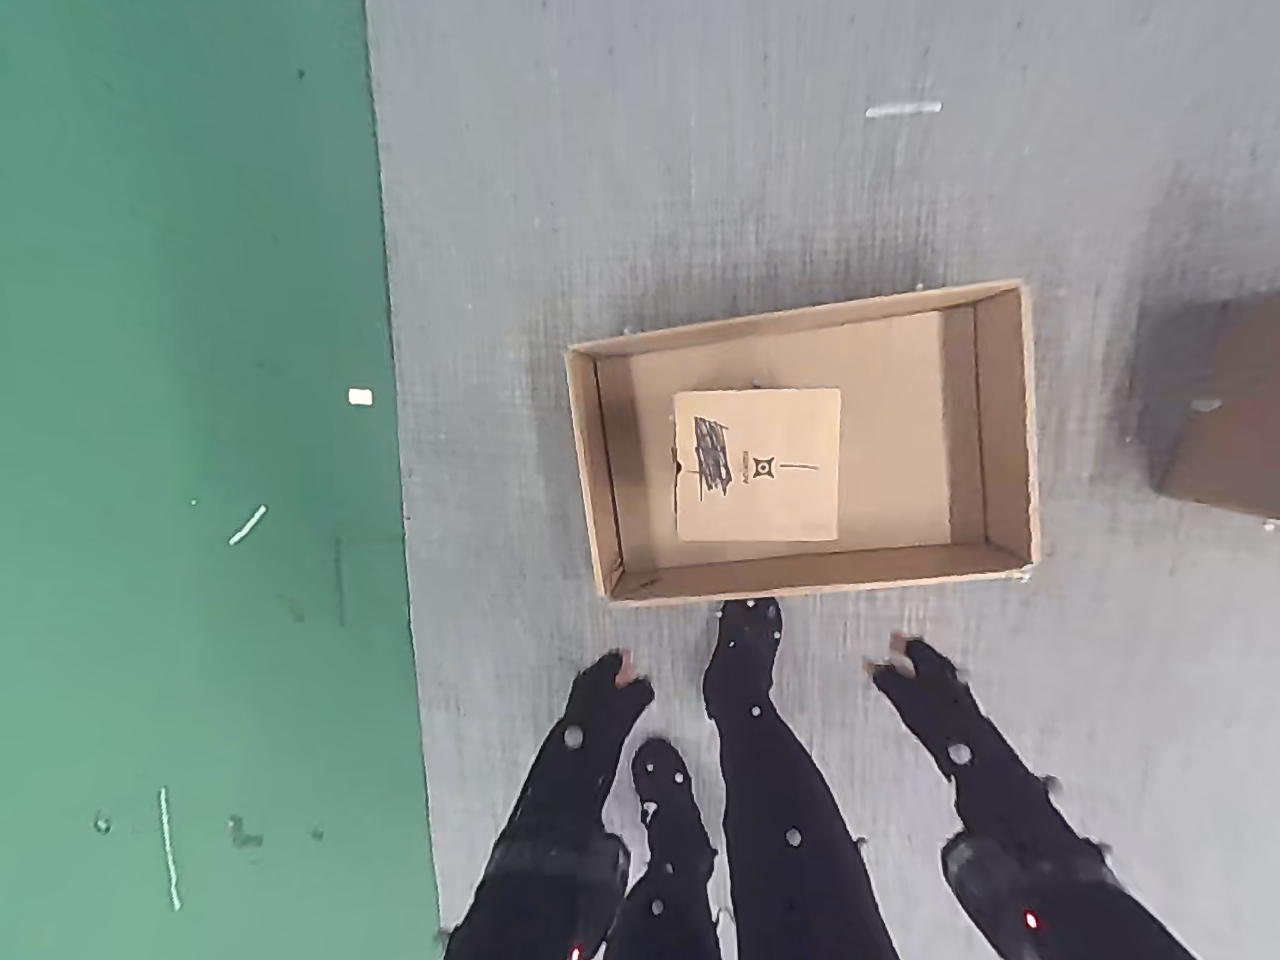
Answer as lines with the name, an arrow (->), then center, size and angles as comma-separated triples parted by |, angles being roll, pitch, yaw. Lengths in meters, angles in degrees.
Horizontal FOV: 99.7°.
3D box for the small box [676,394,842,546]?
small box -> 0.136, -0.020, 0.664 | 0.179, 0.176, 0.168 | -1, 99, 6
